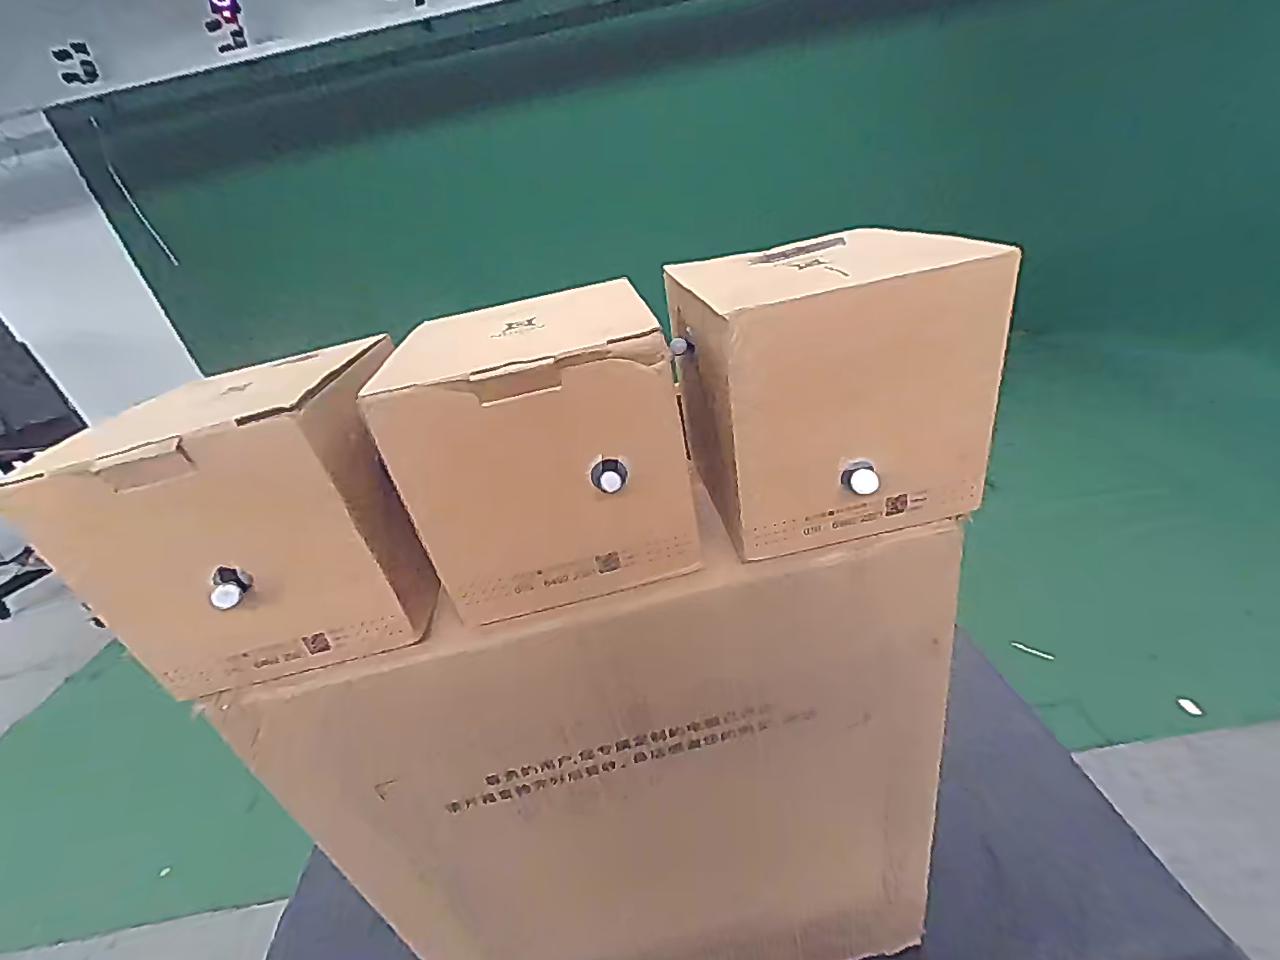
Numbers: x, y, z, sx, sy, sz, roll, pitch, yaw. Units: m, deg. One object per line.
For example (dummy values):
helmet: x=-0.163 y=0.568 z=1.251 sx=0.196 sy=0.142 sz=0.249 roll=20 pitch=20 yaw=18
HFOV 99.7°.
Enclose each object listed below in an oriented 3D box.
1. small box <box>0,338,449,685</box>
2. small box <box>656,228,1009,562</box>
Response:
small box: x=-0.255 y=0.020 z=0.385 sx=0.168 sy=0.176 sz=0.179 roll=-14 pitch=30 yaw=0
small box: x=0.113 y=-0.069 z=0.386 sx=0.168 sy=0.176 sz=0.179 roll=-13 pitch=30 yaw=-1
